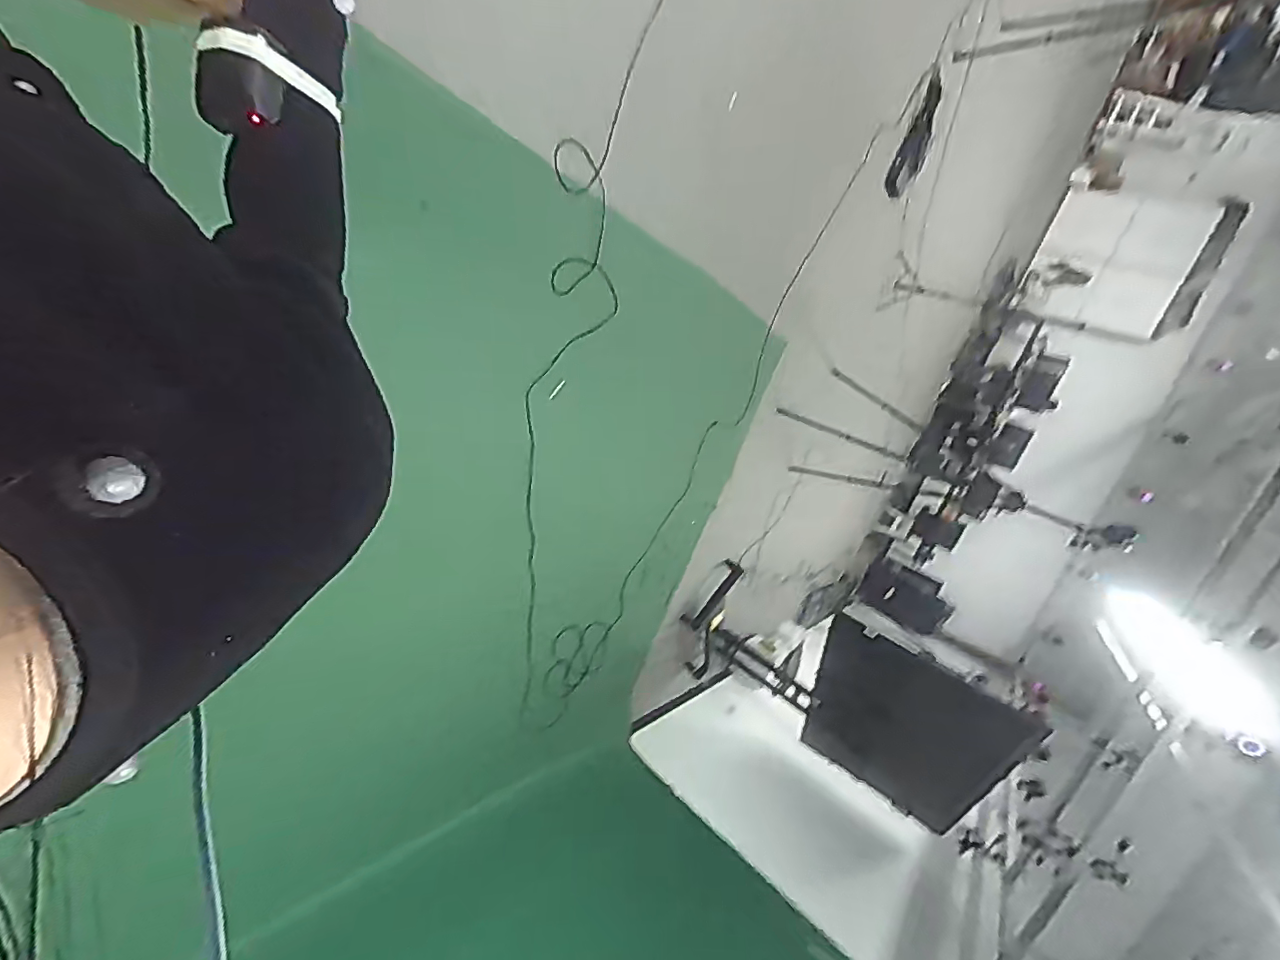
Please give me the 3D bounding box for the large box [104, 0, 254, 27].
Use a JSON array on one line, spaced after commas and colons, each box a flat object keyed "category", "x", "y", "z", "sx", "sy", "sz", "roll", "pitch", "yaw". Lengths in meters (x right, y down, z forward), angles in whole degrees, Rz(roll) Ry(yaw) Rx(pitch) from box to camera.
[{"category": "large box", "x": -0.499, "y": -0.533, "z": 0.297, "sx": 0.408, "sy": 0.320, "sz": 0.320, "roll": -13, "pitch": 127, "yaw": -52}]
